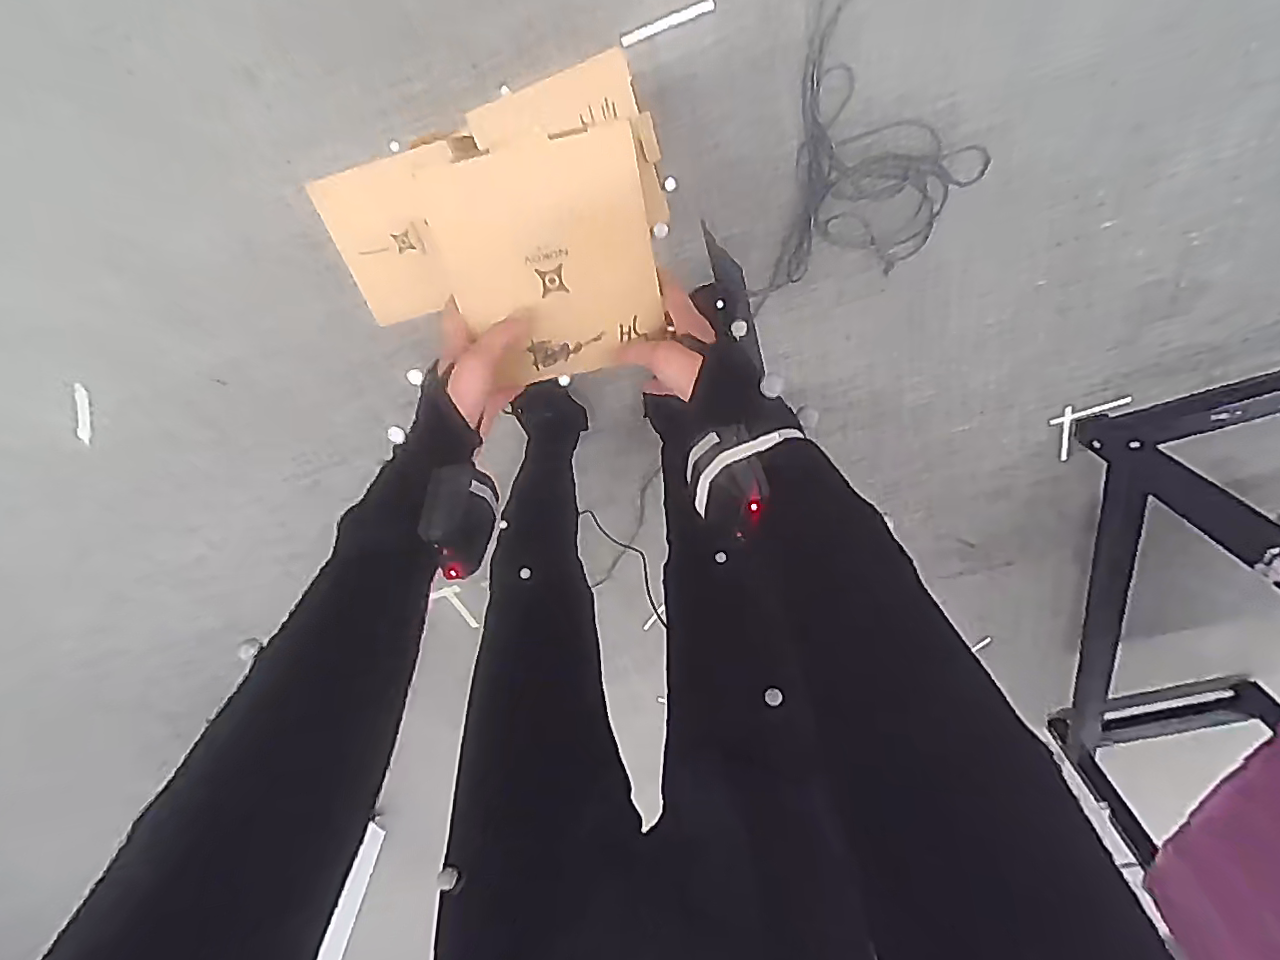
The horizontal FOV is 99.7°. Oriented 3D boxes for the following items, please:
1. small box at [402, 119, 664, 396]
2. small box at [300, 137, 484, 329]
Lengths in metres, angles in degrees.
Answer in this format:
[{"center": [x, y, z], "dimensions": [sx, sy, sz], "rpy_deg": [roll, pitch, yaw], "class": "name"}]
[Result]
[{"center": [-0.075, -0.196, 0.484], "dimensions": [0.168, 0.176, 0.179], "rpy_deg": [-9, 118, 6], "class": "small box"}, {"center": [-0.264, -0.313, 0.677], "dimensions": [0.179, 0.176, 0.168], "rpy_deg": [-12, 123, 10], "class": "small box"}]
